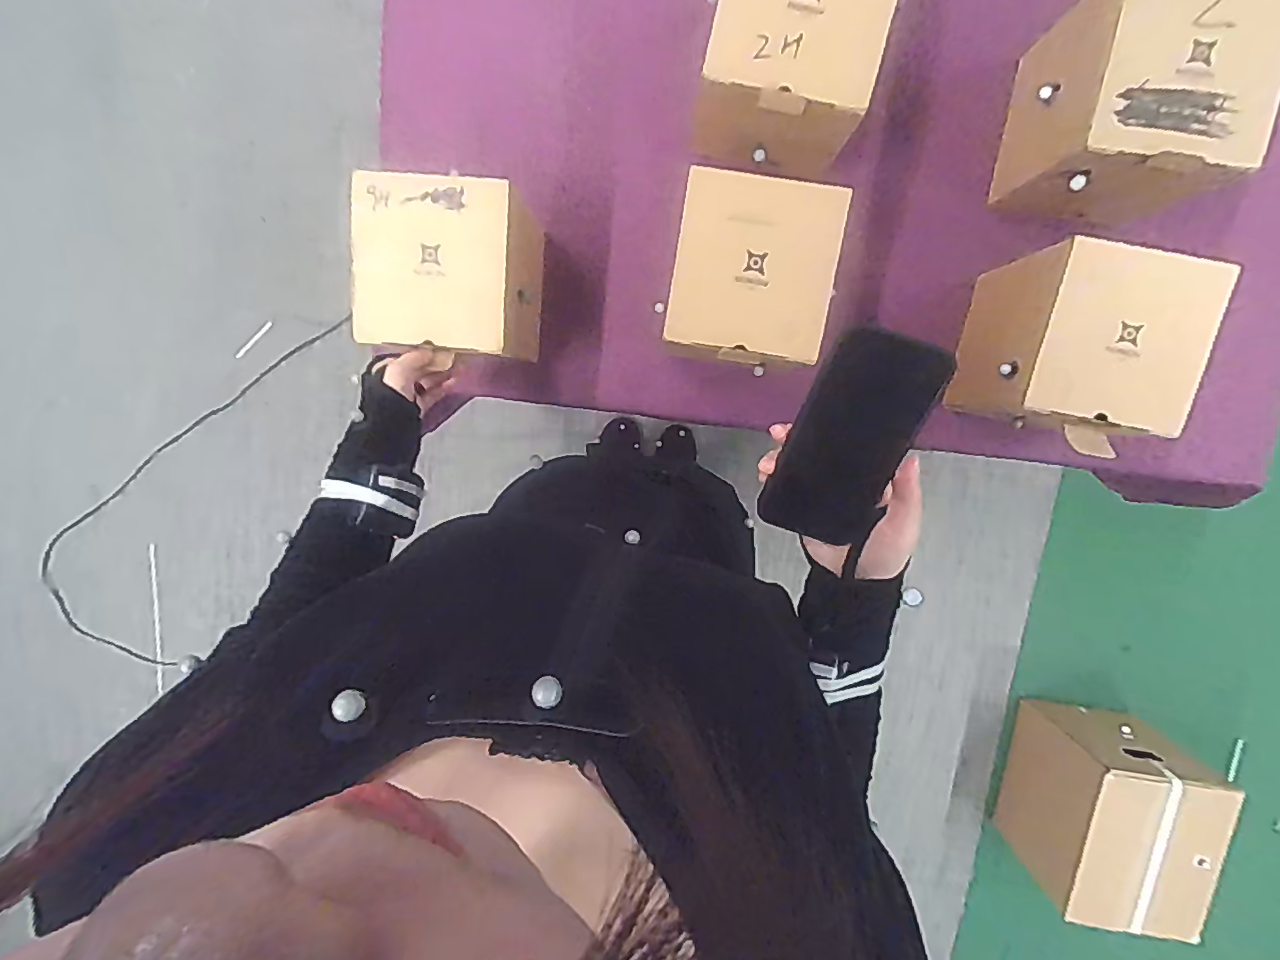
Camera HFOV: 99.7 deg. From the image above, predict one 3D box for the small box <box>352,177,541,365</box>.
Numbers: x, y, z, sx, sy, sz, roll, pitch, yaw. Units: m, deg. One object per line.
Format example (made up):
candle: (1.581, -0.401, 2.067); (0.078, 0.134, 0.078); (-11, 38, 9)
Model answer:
small box: (-0.218, -0.233, 0.646); (0.168, 0.176, 0.179); (5, 99, 1)

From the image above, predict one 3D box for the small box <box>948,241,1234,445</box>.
small box: (0.492, -0.148, 0.624); (0.168, 0.176, 0.179); (12, 99, 1)

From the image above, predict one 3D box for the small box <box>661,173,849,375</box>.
small box: (0.121, -0.223, 0.632); (0.168, 0.176, 0.179); (9, 98, 1)

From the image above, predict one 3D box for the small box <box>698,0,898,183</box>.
small box: (0.163, -0.464, 0.592); (0.168, 0.176, 0.179); (14, 99, 1)
